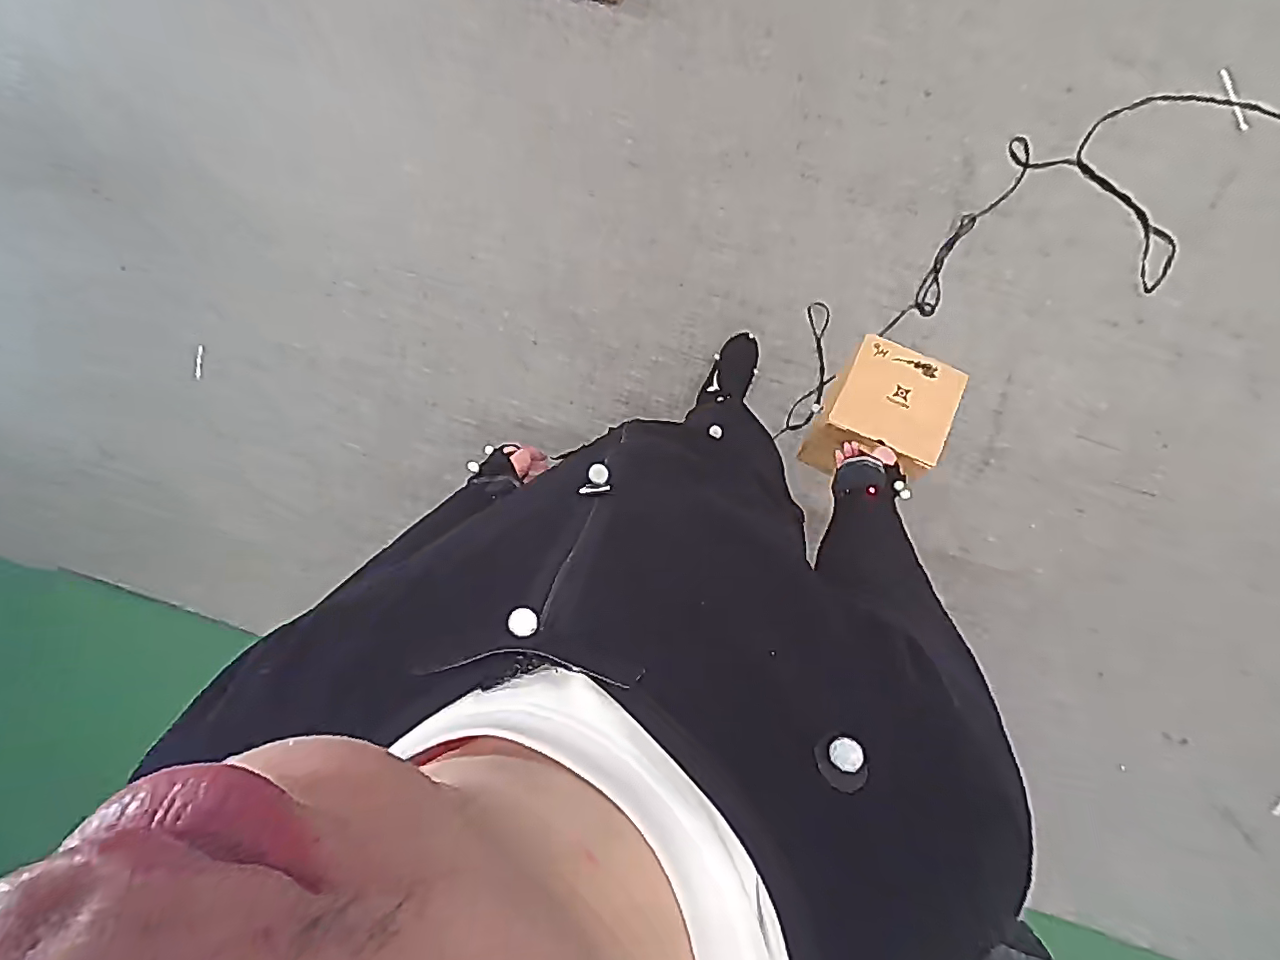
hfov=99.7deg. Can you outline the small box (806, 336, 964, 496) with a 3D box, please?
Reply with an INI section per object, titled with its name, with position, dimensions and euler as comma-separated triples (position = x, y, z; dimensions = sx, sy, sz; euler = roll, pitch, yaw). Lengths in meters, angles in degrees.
[small box]
position = 0.389, -0.096, 0.889
dimensions = 0.168, 0.176, 0.179
euler = 24, 72, 10
